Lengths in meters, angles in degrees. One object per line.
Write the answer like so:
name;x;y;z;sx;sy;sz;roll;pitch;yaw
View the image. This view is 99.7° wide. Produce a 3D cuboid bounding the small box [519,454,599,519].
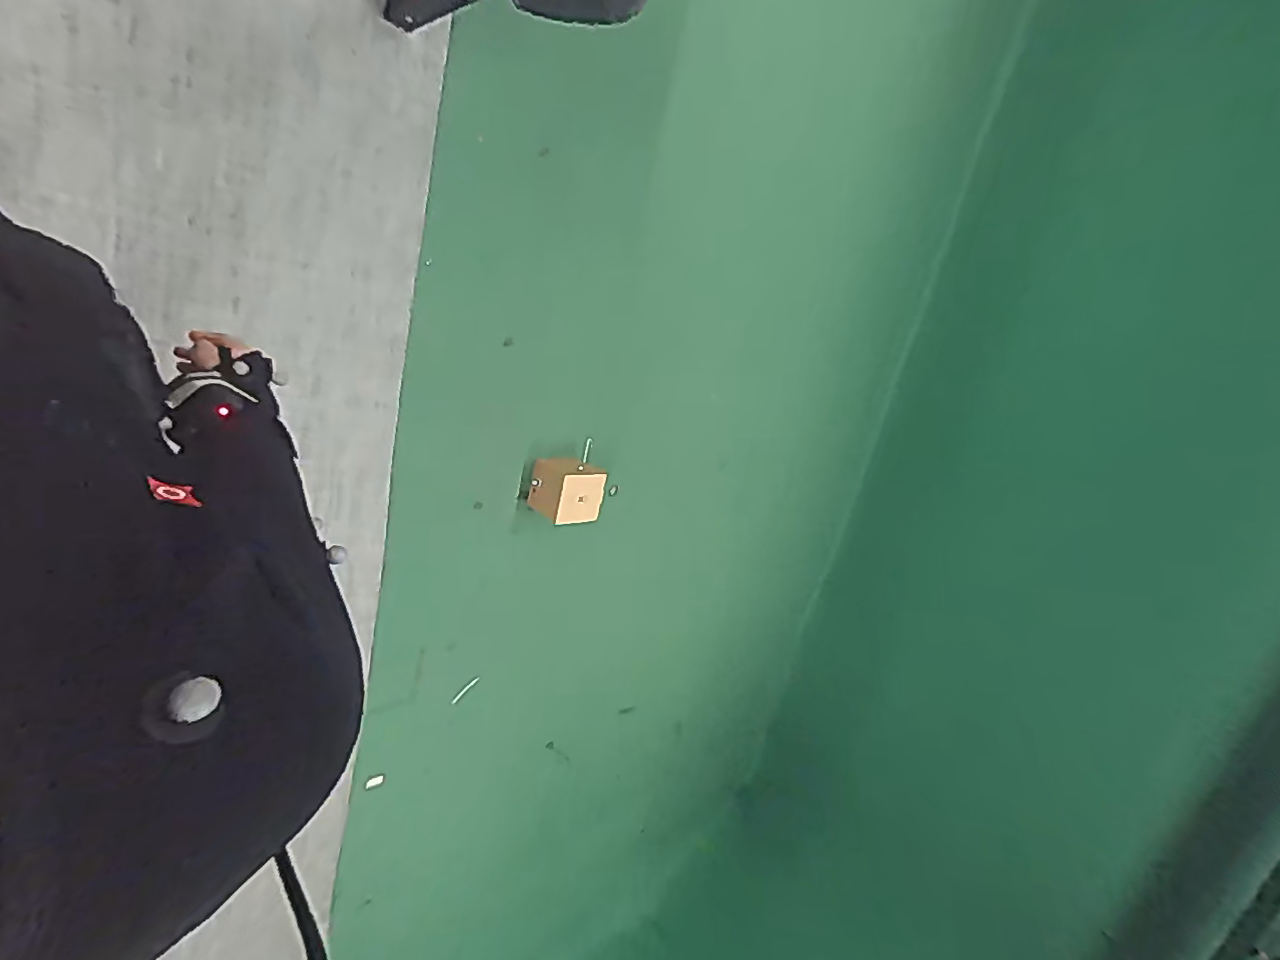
small box;-0.267;0.017;1.768;0.179;0.176;0.168;-3;111;-46
